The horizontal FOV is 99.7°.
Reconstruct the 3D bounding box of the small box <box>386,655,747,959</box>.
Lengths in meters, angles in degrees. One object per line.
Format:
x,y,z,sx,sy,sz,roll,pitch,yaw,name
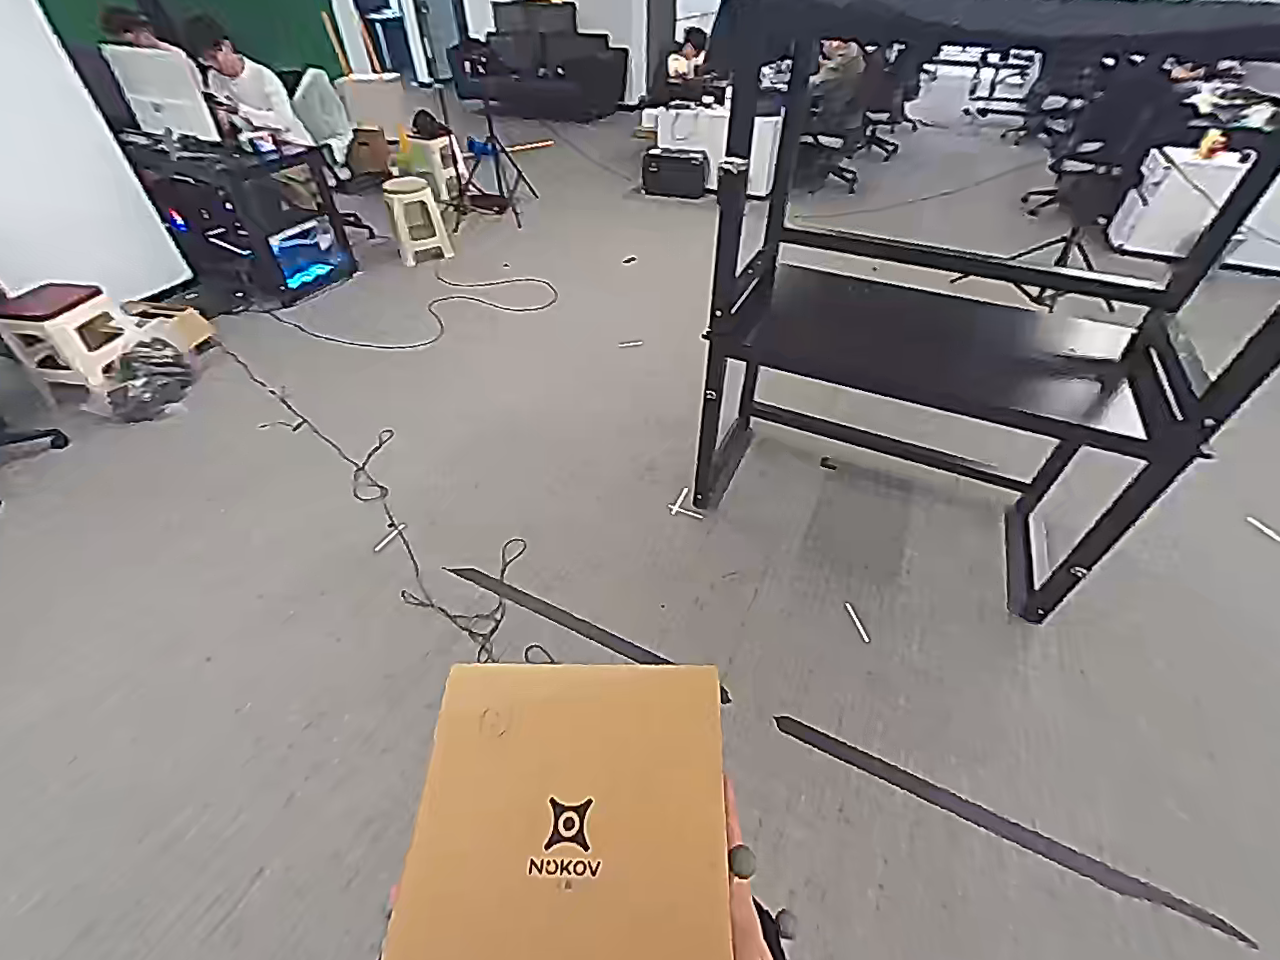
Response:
-0.028,0.224,0.338,0.168,0.176,0.179,-1,54,4,small box
